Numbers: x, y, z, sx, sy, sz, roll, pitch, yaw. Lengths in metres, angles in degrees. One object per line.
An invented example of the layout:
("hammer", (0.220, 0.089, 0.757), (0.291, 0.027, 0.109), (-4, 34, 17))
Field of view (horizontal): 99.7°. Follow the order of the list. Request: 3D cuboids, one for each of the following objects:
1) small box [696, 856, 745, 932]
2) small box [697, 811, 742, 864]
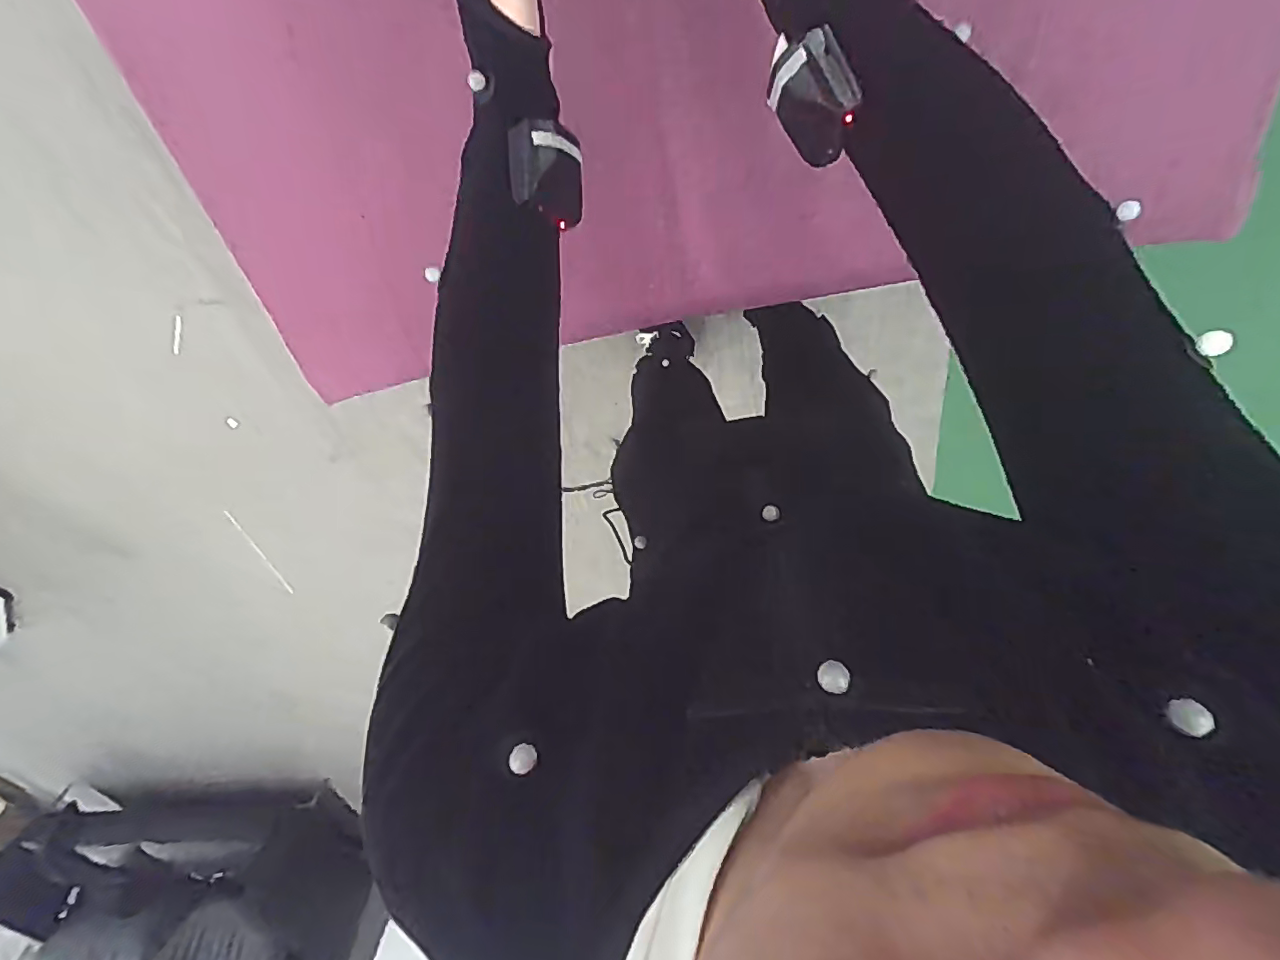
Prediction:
("small box", (0.299, 1.526, 1.993), (0.168, 0.176, 0.179), (-4, 122, 10))
("small box", (0.316, 1.439, 2.129), (0.168, 0.176, 0.179), (-4, 122, 9))
